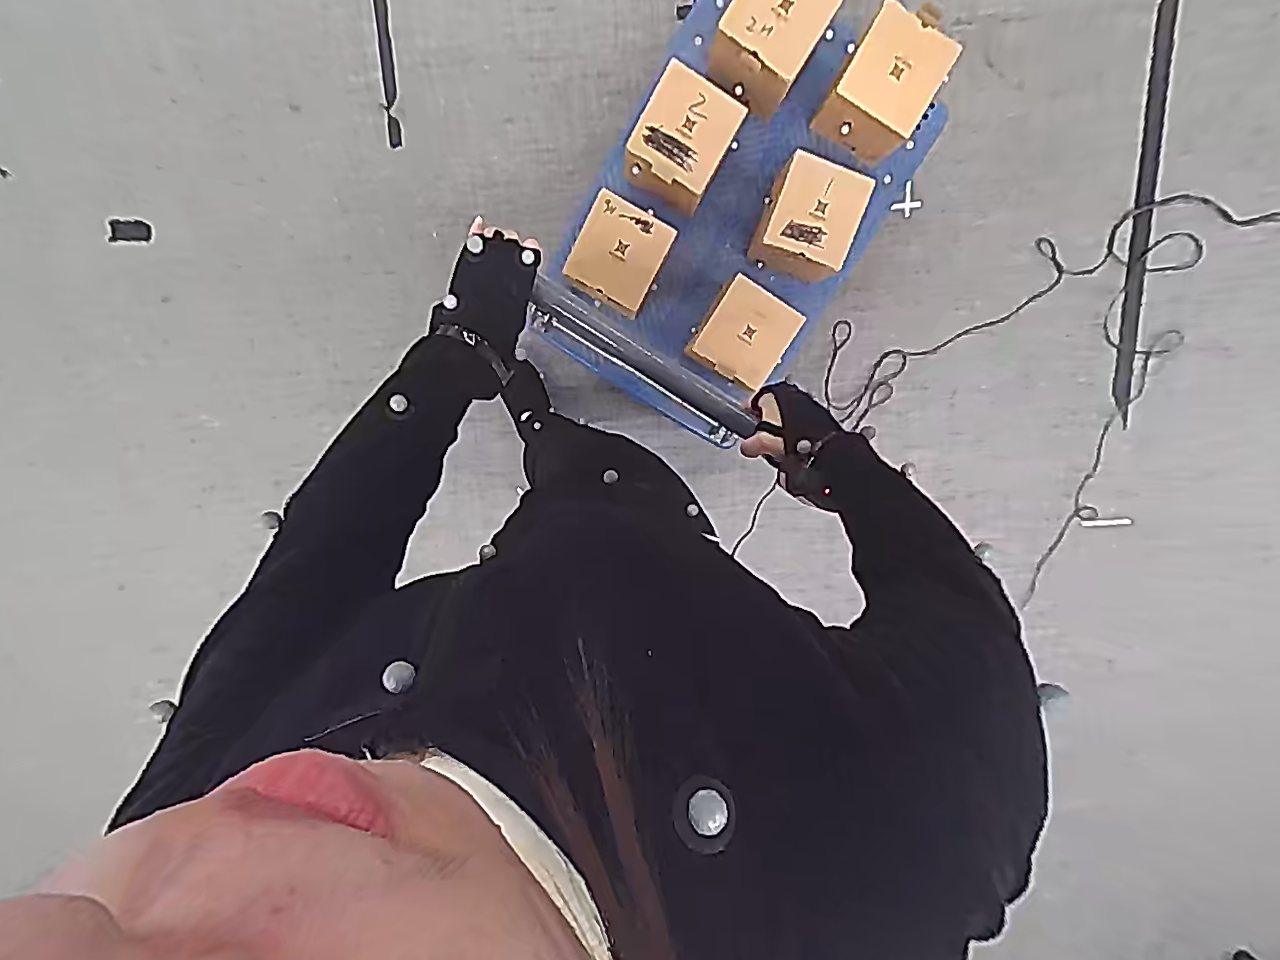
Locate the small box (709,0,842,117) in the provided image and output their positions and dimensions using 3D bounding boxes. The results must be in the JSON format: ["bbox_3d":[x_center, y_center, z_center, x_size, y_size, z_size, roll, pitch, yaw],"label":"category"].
[{"bbox_3d":[0.249,-0.857,1.042,0.168,0.176,0.179,33,100,-7],"label":"small box"}]

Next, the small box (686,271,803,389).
[{"bbox_3d":[0.212,-0.314,1.159,0.168,0.176,0.179,32,99,-8],"label":"small box"}]

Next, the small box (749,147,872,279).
[{"bbox_3d":[0.337,-0.535,1.114,0.168,0.176,0.179,20,101,-5],"label":"small box"}]

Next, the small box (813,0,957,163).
[{"bbox_3d":[0.466,-0.770,1.067,0.168,0.176,0.179,28,100,-7],"label":"small box"}]

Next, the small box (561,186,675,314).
[{"bbox_3d":[-0.044,-0.462,1.121,0.168,0.176,0.179,28,100,-7],"label":"small box"}]
